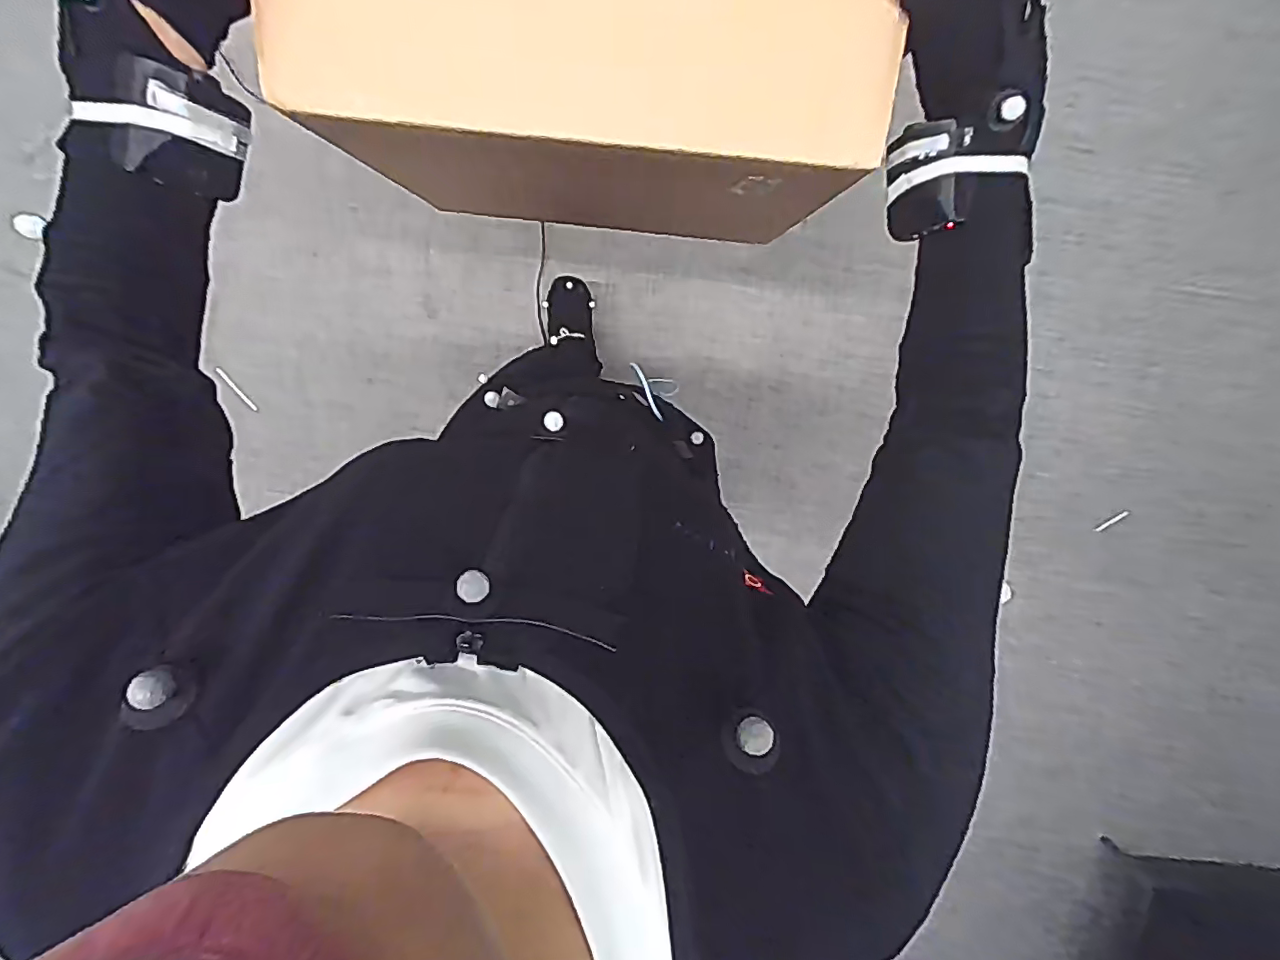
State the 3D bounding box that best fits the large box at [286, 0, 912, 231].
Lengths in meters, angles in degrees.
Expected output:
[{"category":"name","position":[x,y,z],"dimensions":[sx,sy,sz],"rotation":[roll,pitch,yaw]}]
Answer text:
[{"category":"large box","position":[-0.022,-0.421,0.466],"dimensions":[0.408,0.320,0.320],"rotation":[4,106,-3]}]
